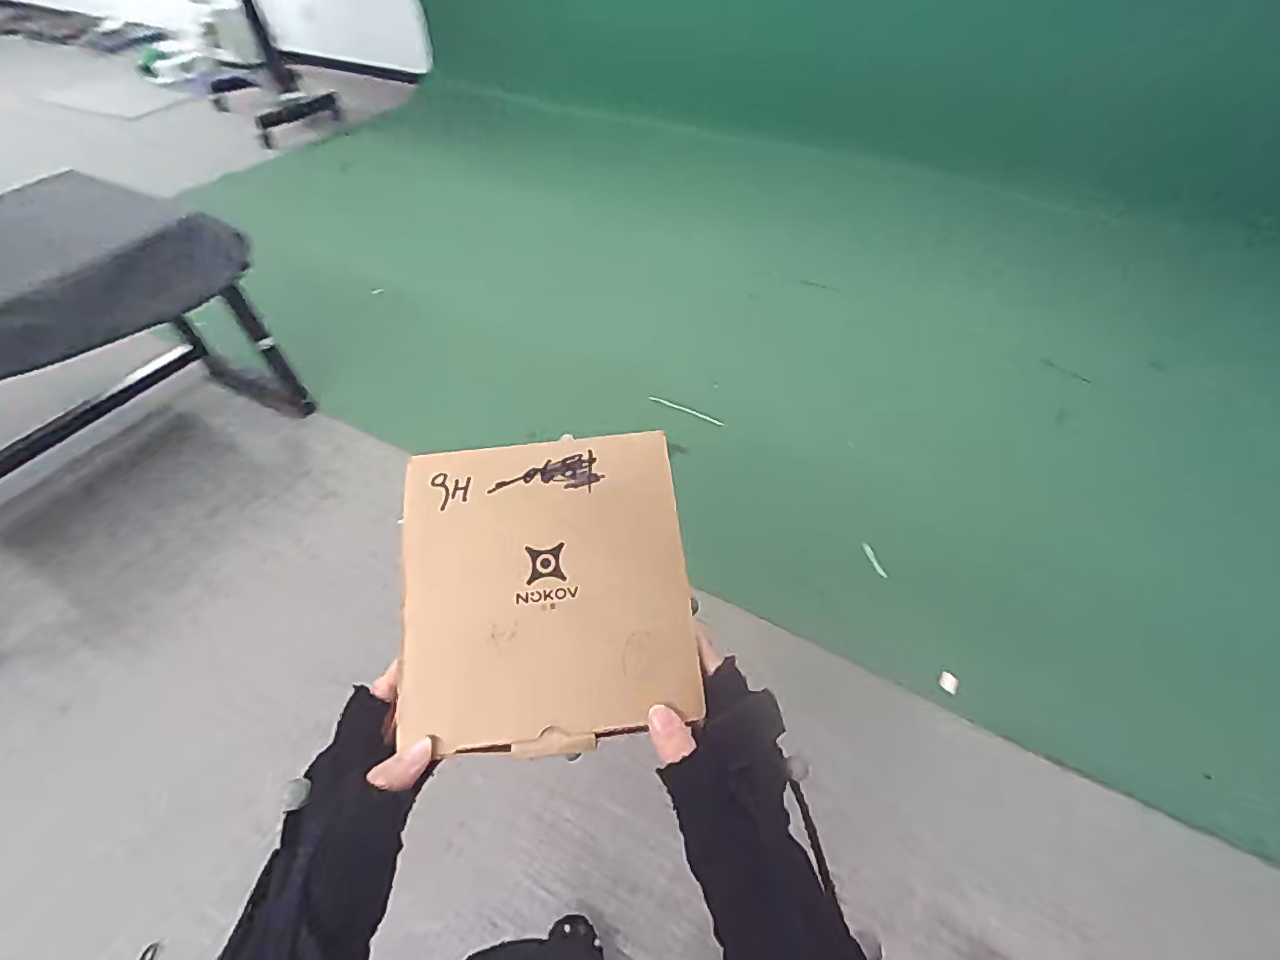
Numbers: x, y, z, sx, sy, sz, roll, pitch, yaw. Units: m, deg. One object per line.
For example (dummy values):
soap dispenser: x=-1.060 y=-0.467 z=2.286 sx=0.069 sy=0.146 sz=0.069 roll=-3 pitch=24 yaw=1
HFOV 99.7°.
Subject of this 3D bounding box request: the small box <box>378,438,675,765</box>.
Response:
small box: x=-0.069 y=0.088 z=0.394 sx=0.168 sy=0.176 sz=0.179 roll=-7 pitch=70 yaw=-3
